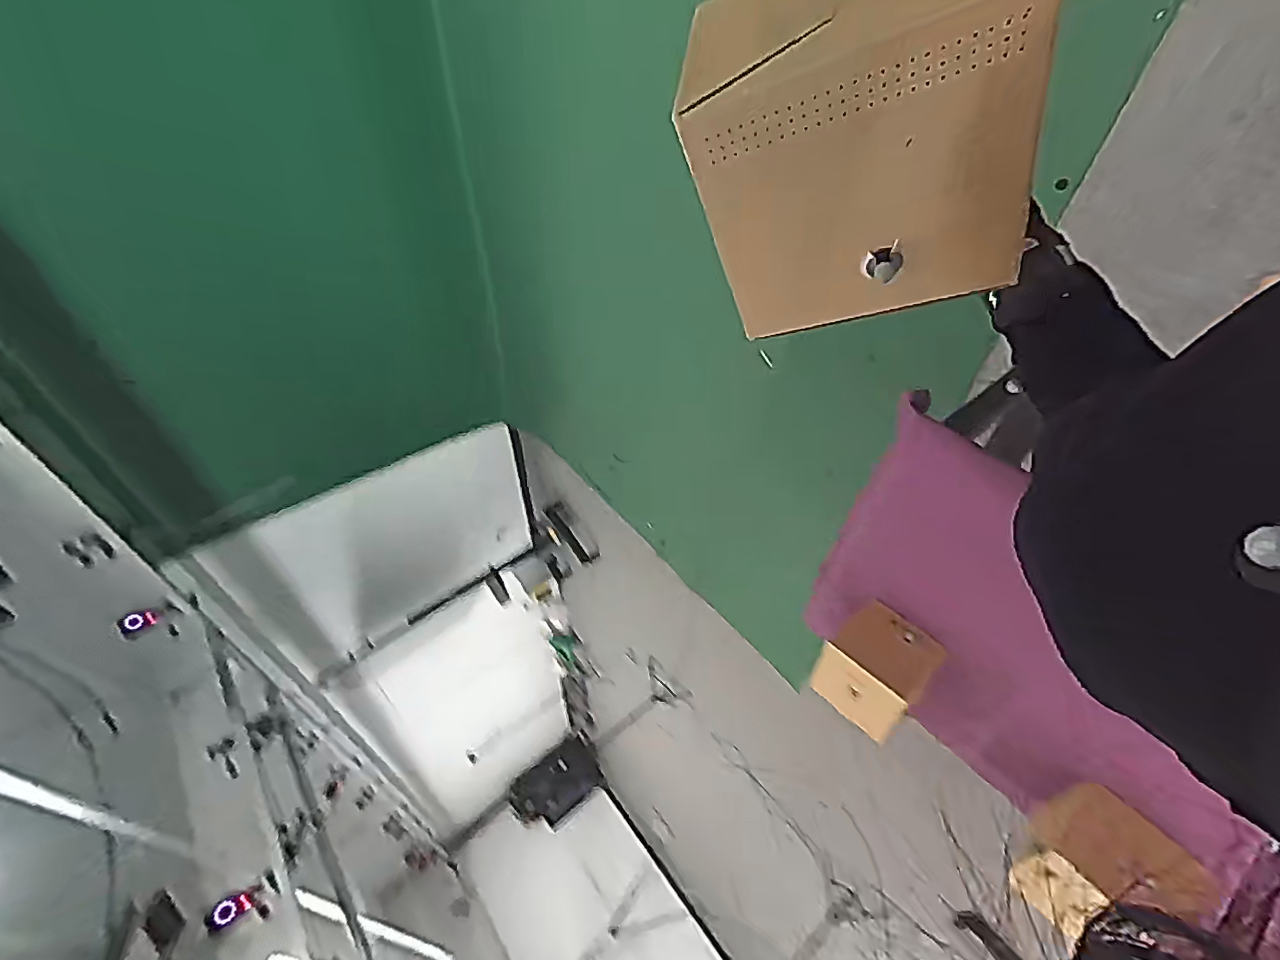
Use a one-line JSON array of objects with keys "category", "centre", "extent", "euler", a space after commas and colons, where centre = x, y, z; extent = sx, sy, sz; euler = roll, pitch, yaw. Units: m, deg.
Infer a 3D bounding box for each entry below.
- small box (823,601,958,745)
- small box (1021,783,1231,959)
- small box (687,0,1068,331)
[{"category": "small box", "centre": [0.500, 0.382, 1.086], "extent": [0.168, 0.176, 0.179], "euler": [36, 143, 35]}, {"category": "small box", "centre": [0.775, 0.637, 0.868], "extent": [0.179, 0.176, 0.168], "euler": [40, 145, 32]}, {"category": "small box", "centre": [0.145, -0.232, 0.353], "extent": [0.179, 0.168, 0.176], "euler": [-7, 145, 24]}]
